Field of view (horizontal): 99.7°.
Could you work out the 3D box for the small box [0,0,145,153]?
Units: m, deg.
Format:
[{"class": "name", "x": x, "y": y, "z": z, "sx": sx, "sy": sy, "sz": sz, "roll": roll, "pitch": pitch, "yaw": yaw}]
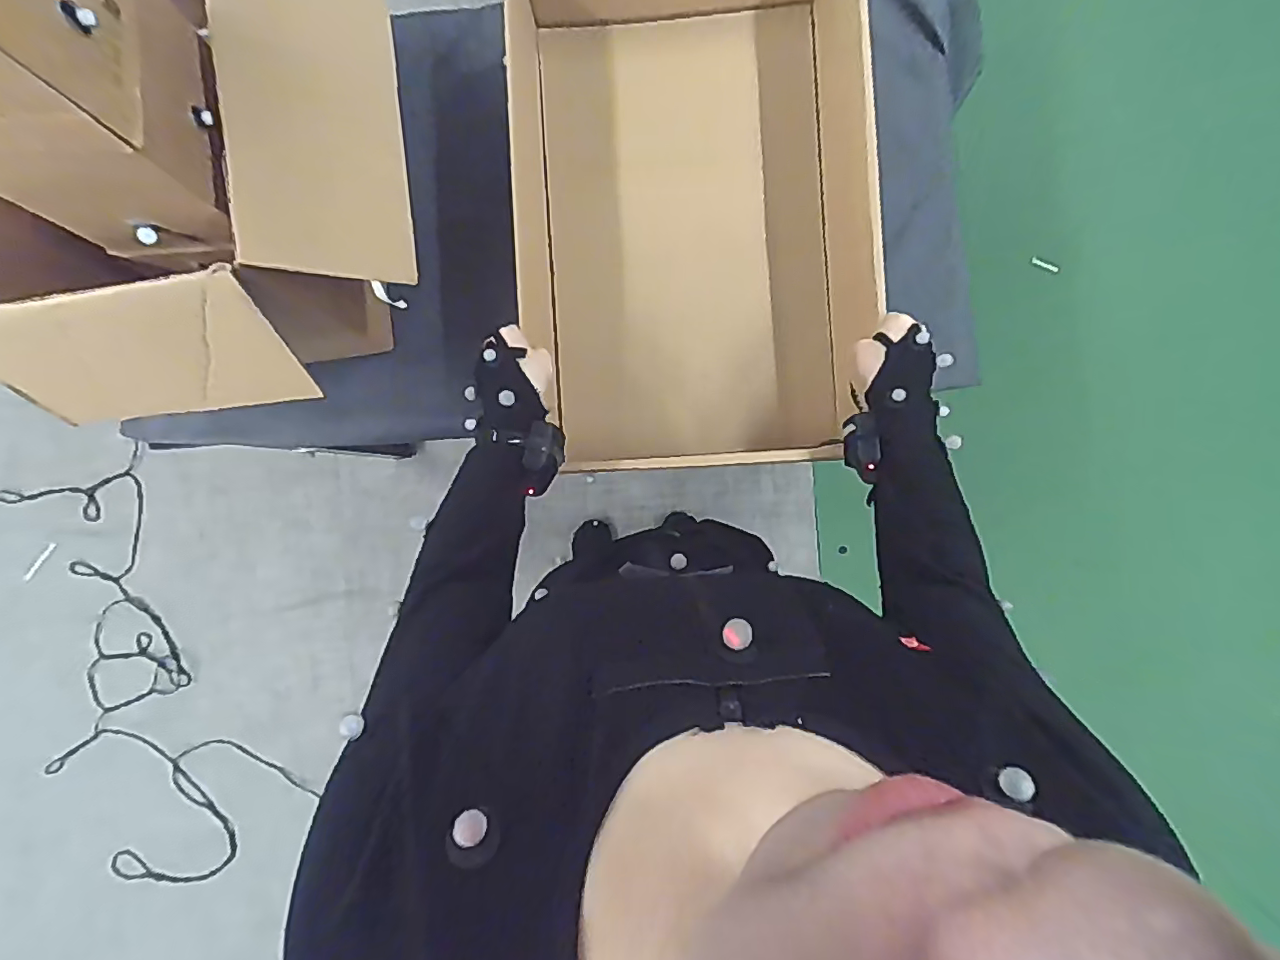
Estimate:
[{"class": "small box", "x": -0.499, "y": -0.352, "z": 0.369, "sx": 0.179, "sy": 0.176, "sz": 0.168, "roll": -4, "pitch": 89, "yaw": -4}]
